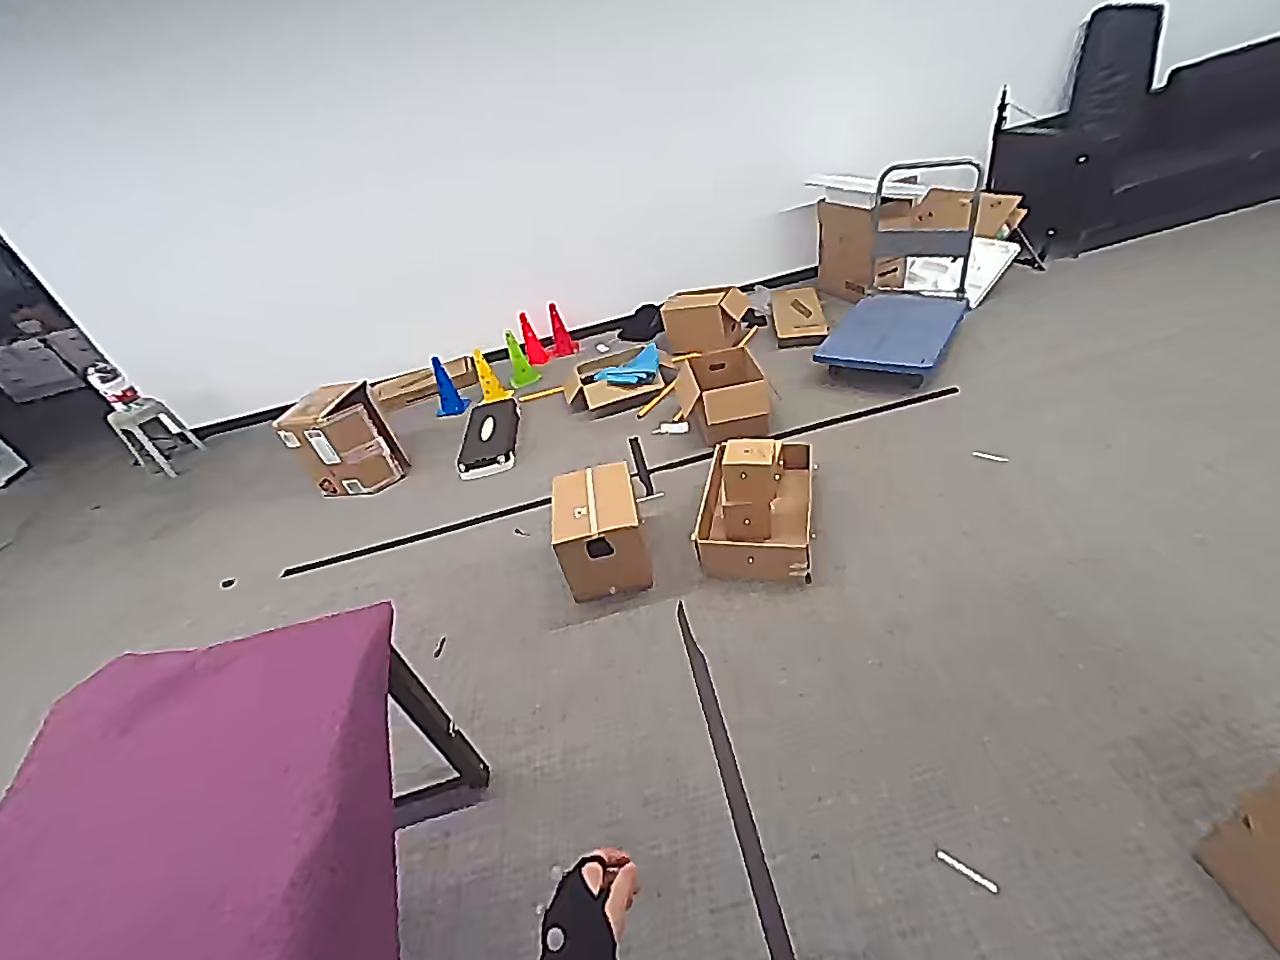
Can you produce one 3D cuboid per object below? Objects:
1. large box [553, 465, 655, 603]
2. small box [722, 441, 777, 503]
[{"bbox_3d":[-0.144,0.202,2.102,0.320,0.320,0.408,-14,37,1],"label":"large box"},{"bbox_3d":[0.406,-0.030,1.991,0.179,0.176,0.168,2,37,19],"label":"small box"}]
